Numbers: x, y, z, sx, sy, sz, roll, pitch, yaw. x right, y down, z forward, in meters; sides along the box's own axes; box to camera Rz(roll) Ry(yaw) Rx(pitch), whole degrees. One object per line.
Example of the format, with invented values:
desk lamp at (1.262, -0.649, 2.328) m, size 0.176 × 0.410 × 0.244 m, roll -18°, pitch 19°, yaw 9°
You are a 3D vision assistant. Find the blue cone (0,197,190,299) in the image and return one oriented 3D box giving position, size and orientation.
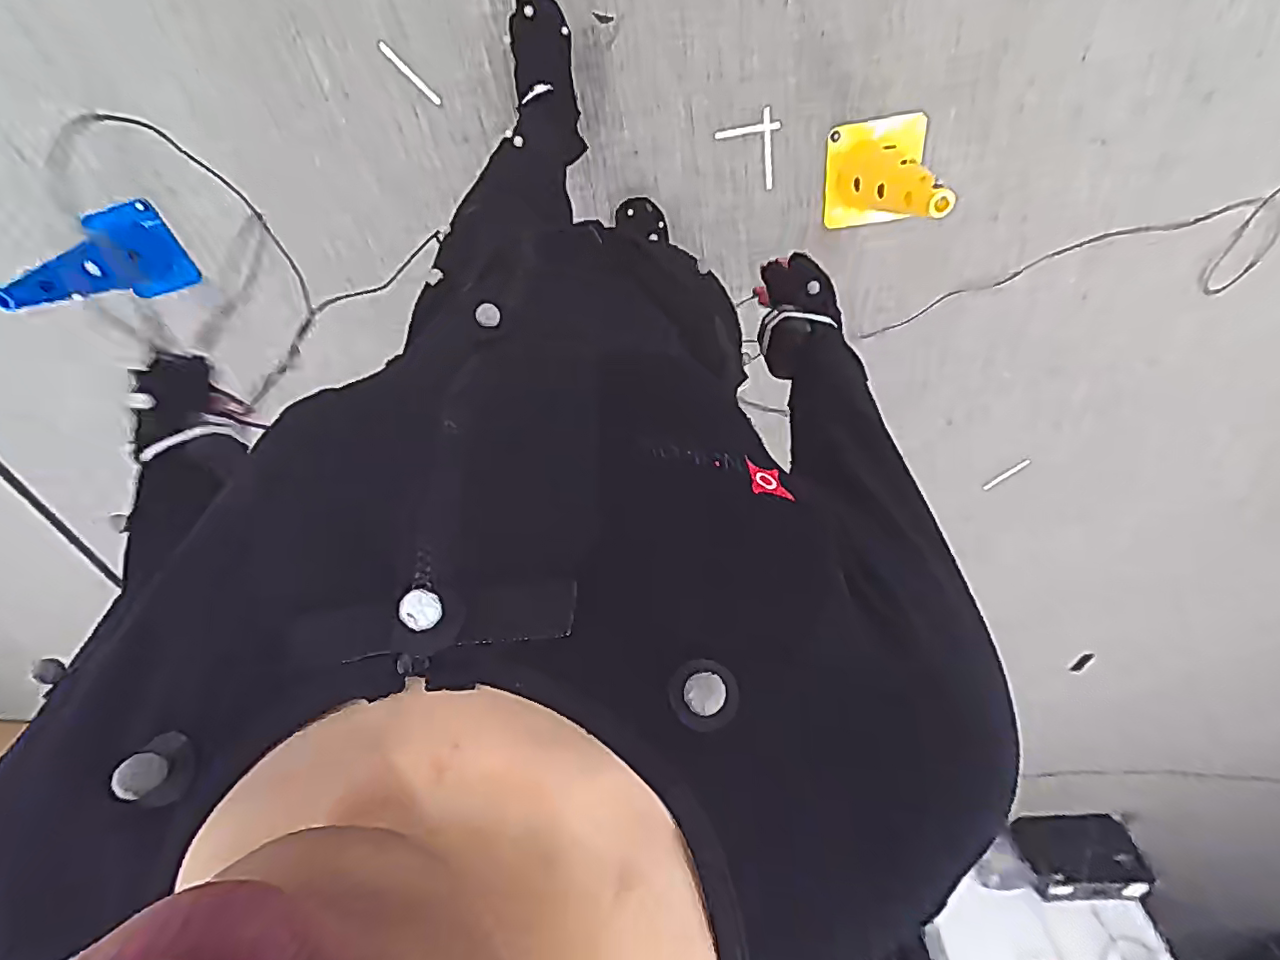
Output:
blue cone at (-1.211, -0.458, 1.165) m, size 0.193 × 0.380 × 0.192 m, roll -10°, pitch 126°, yaw 10°
